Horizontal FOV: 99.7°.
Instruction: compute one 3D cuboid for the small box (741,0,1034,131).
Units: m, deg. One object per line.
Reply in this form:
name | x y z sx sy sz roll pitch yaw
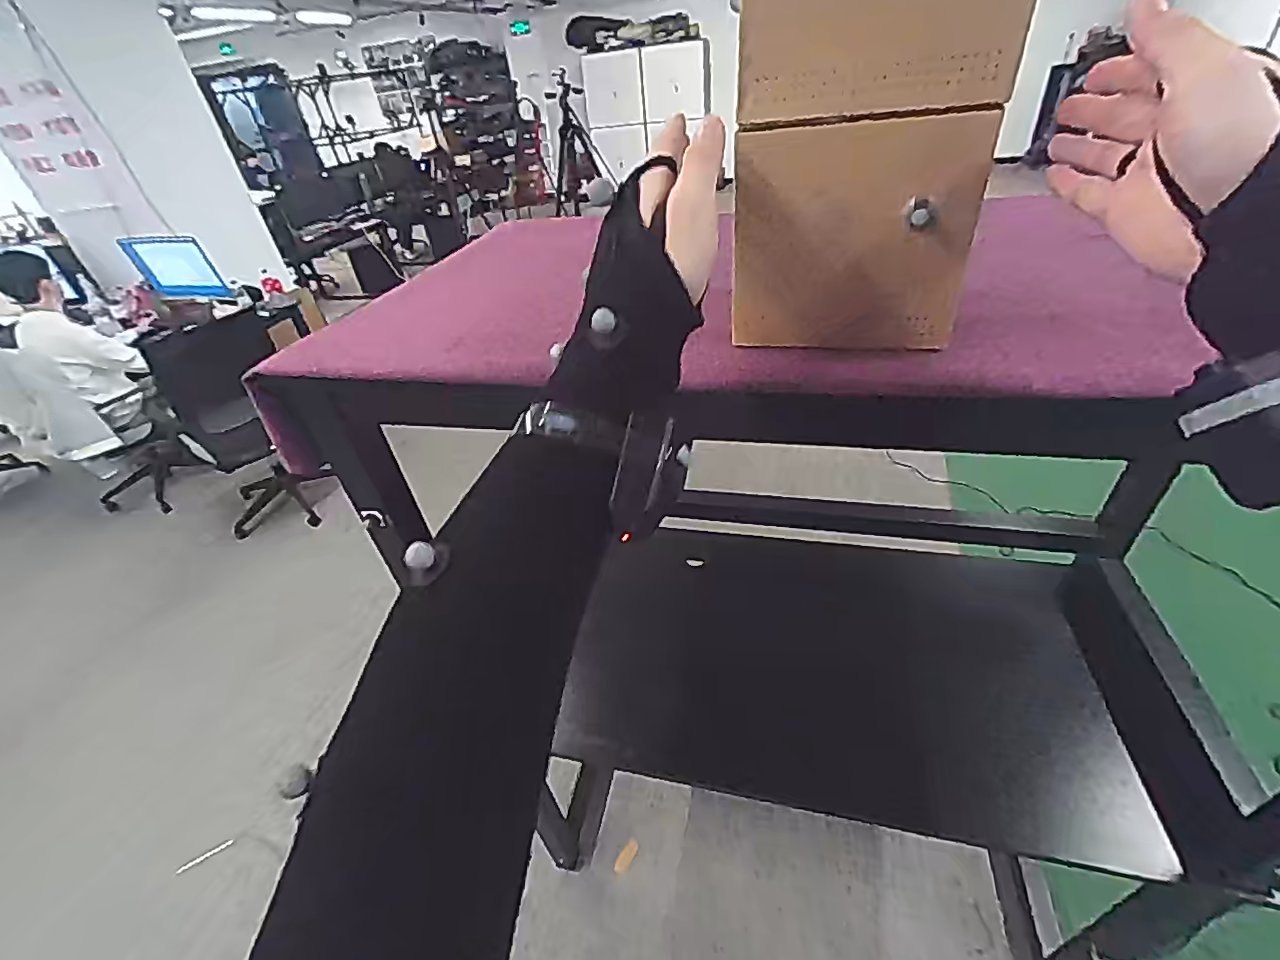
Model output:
small box | 0.167 -0.355 0.378 0.179 0.176 0.168 5 39 17
